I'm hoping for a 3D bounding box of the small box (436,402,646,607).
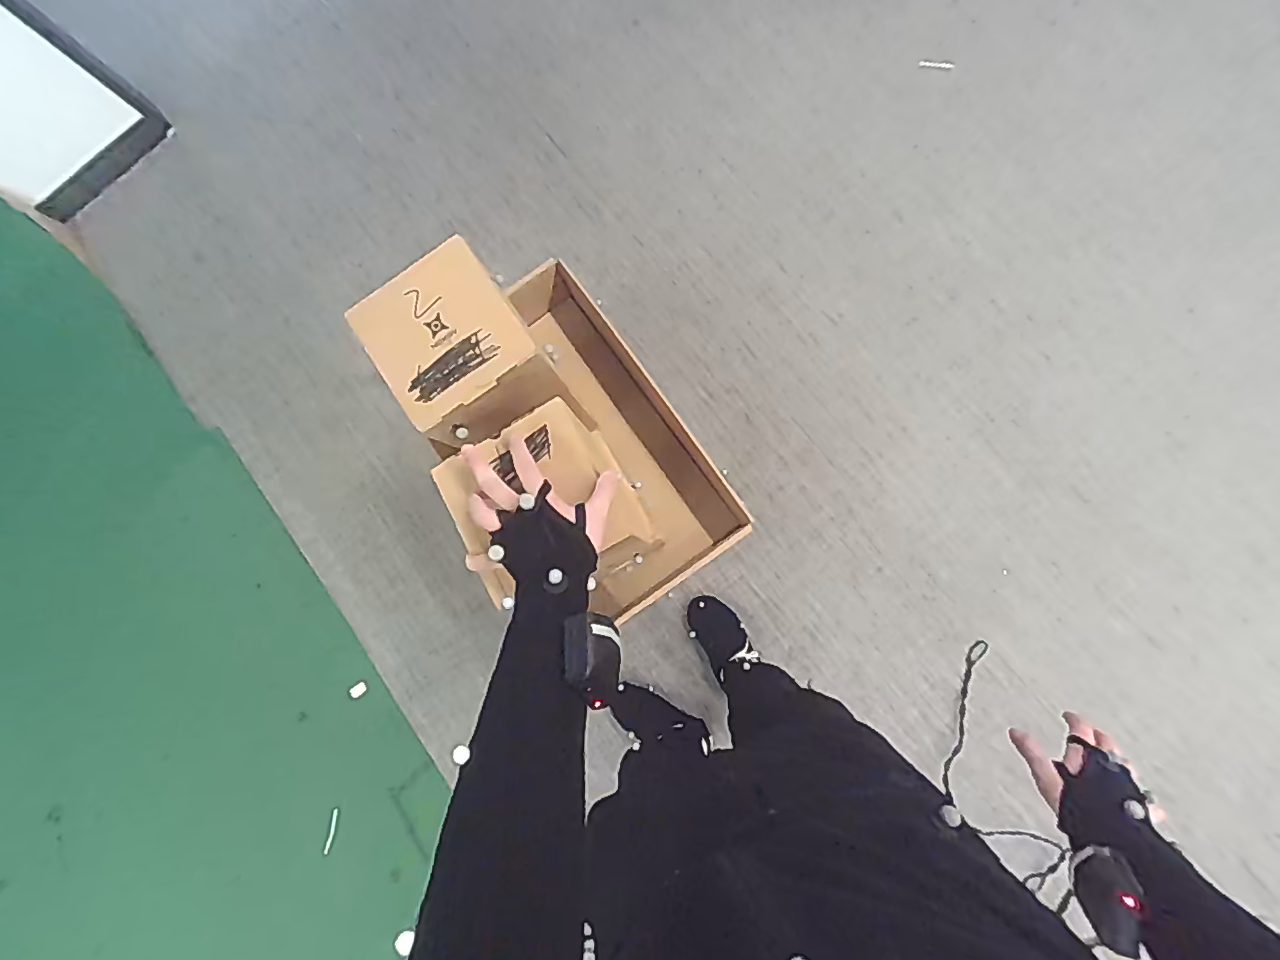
[{"bbox_3d":[-0.108,0.039,0.656,0.168,0.176,0.179,-30,77,1],"label":"small box"}]

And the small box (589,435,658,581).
[{"bbox_3d":[-0.082,0.056,0.824,0.168,0.176,0.179,-29,81,1],"label":"small box"}]

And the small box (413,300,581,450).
[{"bbox_3d":[-0.216,-0.143,0.863,0.168,0.176,0.179,-36,84,0],"label":"small box"}]
